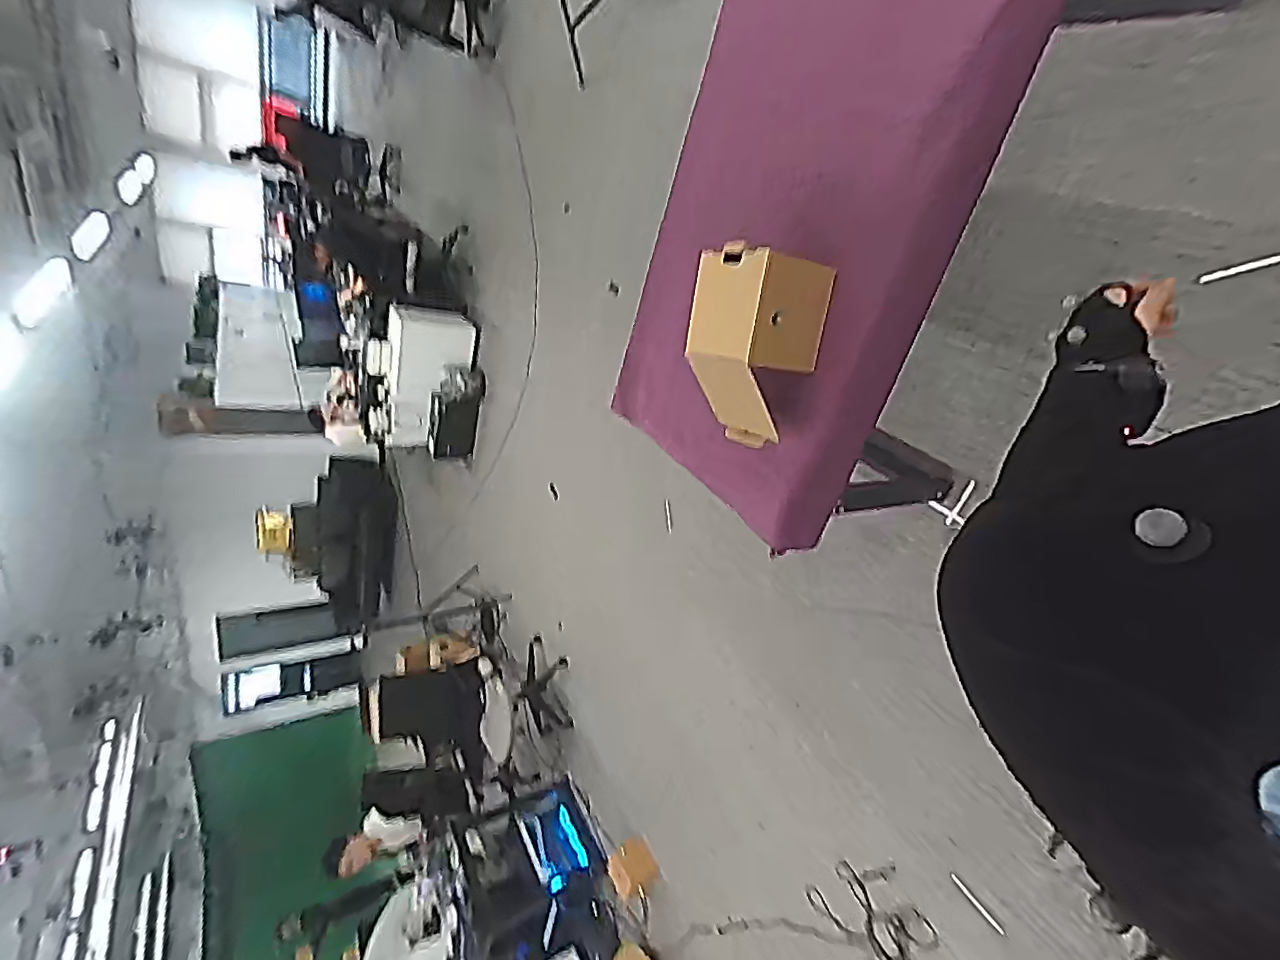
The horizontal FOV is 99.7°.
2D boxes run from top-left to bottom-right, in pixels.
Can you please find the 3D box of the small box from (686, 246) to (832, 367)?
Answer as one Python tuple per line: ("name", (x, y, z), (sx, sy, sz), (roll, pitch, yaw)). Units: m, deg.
("small box", (0.205, -0.297, 0.939), (0.168, 0.176, 0.179), (30, 116, 51))
